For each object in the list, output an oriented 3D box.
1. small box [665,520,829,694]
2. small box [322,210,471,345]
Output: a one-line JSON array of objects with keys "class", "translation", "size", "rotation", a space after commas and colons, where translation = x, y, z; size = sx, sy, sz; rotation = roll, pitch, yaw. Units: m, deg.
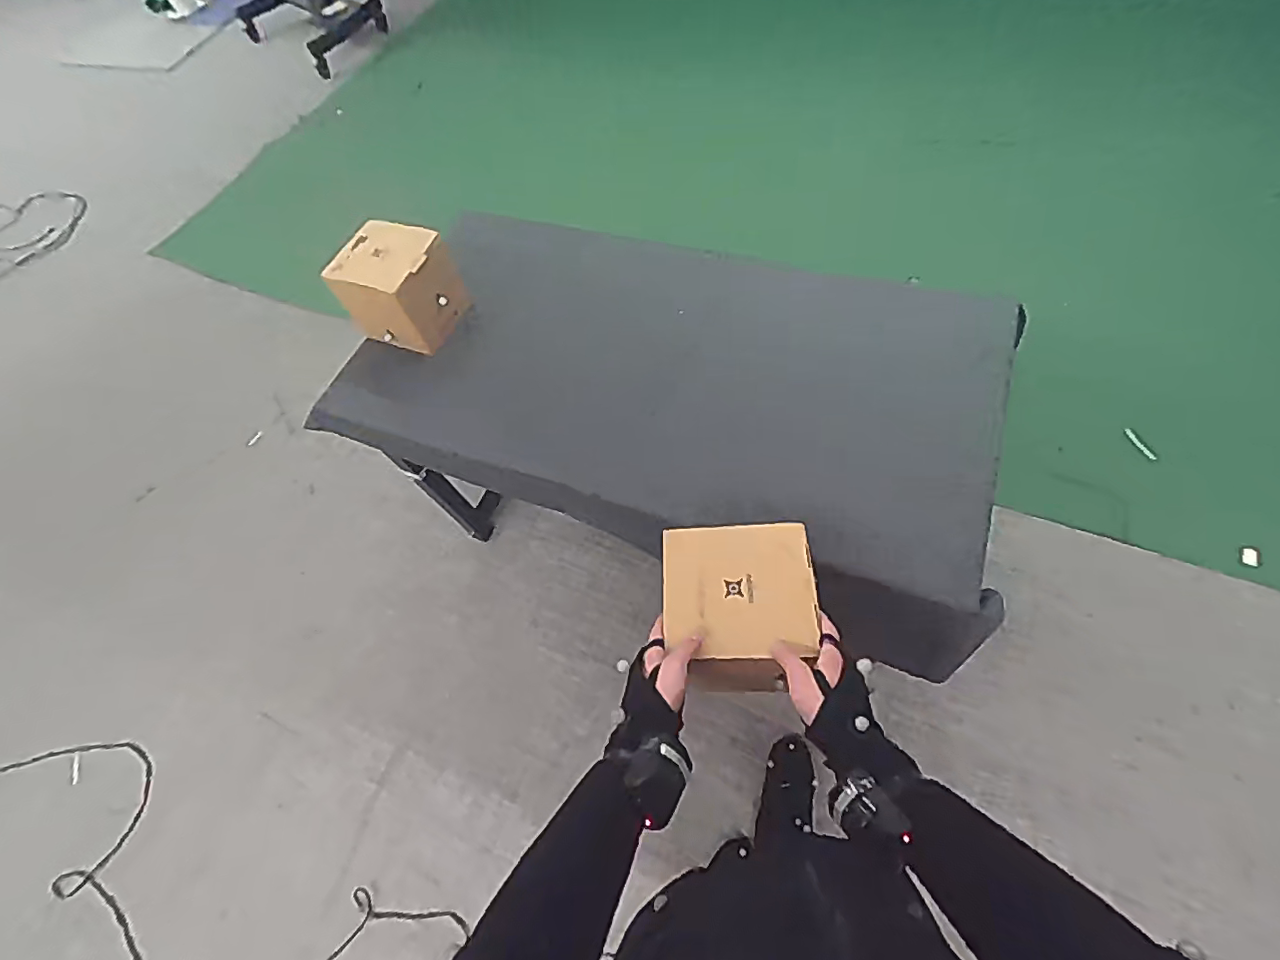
[{"class": "small box", "translation": [0.126, 0.165, 0.685], "size": [0.179, 0.176, 0.168], "rotation": [-4, 54, 8]}, {"class": "small box", "translation": [-0.467, -0.395, 1.070], "size": [0.179, 0.176, 0.168], "rotation": [19, 64, 14]}]
